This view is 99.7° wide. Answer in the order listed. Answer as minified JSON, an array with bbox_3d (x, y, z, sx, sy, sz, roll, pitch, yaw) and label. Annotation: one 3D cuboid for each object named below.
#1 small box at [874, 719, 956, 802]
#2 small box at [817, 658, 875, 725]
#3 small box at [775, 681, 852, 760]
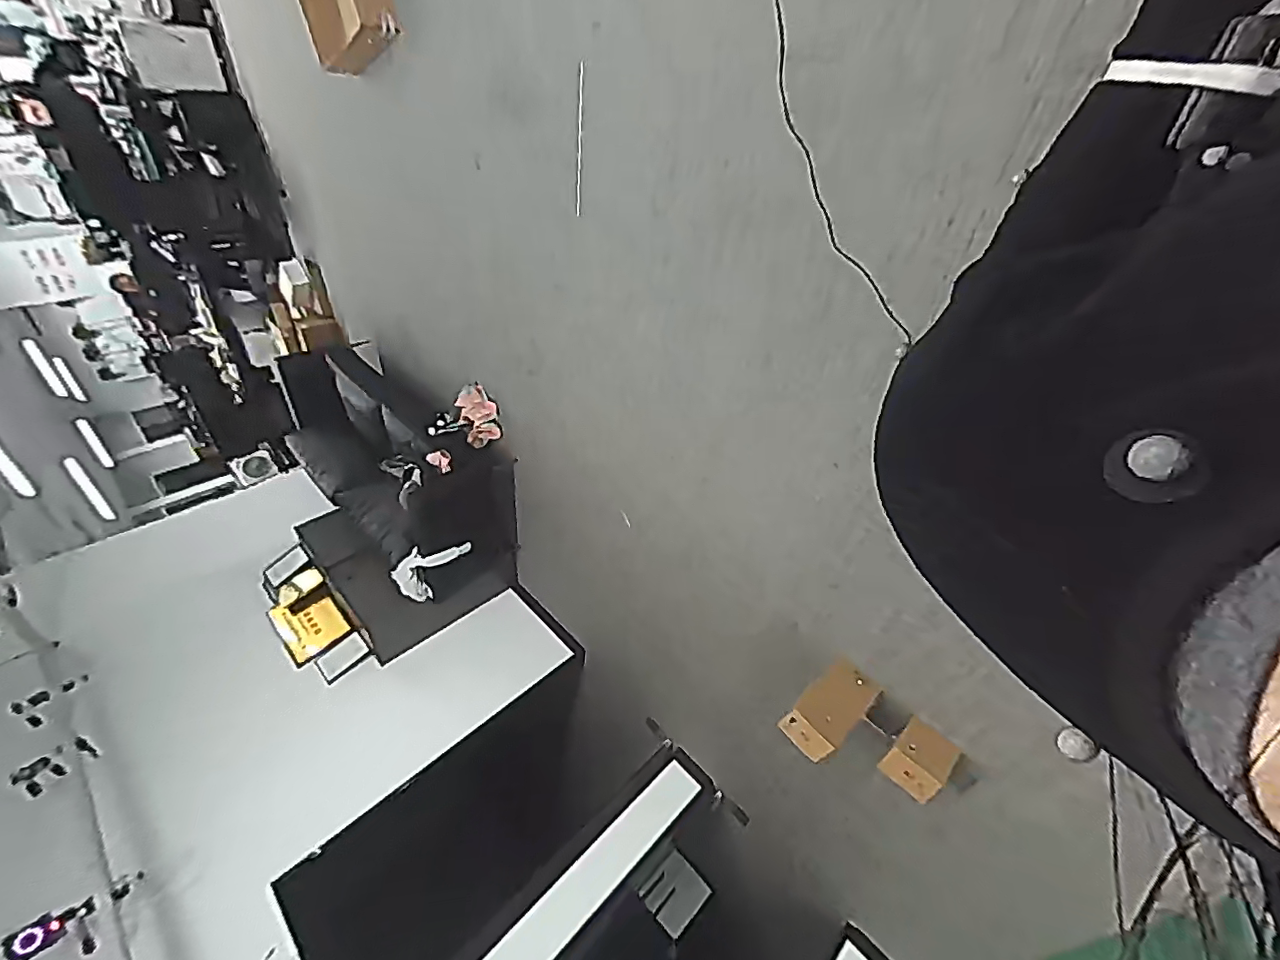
[{"bbox_3d":[0.971,0.977,1.907,0.179,0.176,0.168,35,136,30],"label":"small box"},{"bbox_3d":[0.758,0.816,2.056,0.168,0.176,0.179,43,139,22],"label":"small box"},{"bbox_3d":[0.632,0.868,1.962,0.179,0.176,0.168,42,139,22],"label":"small box"}]
